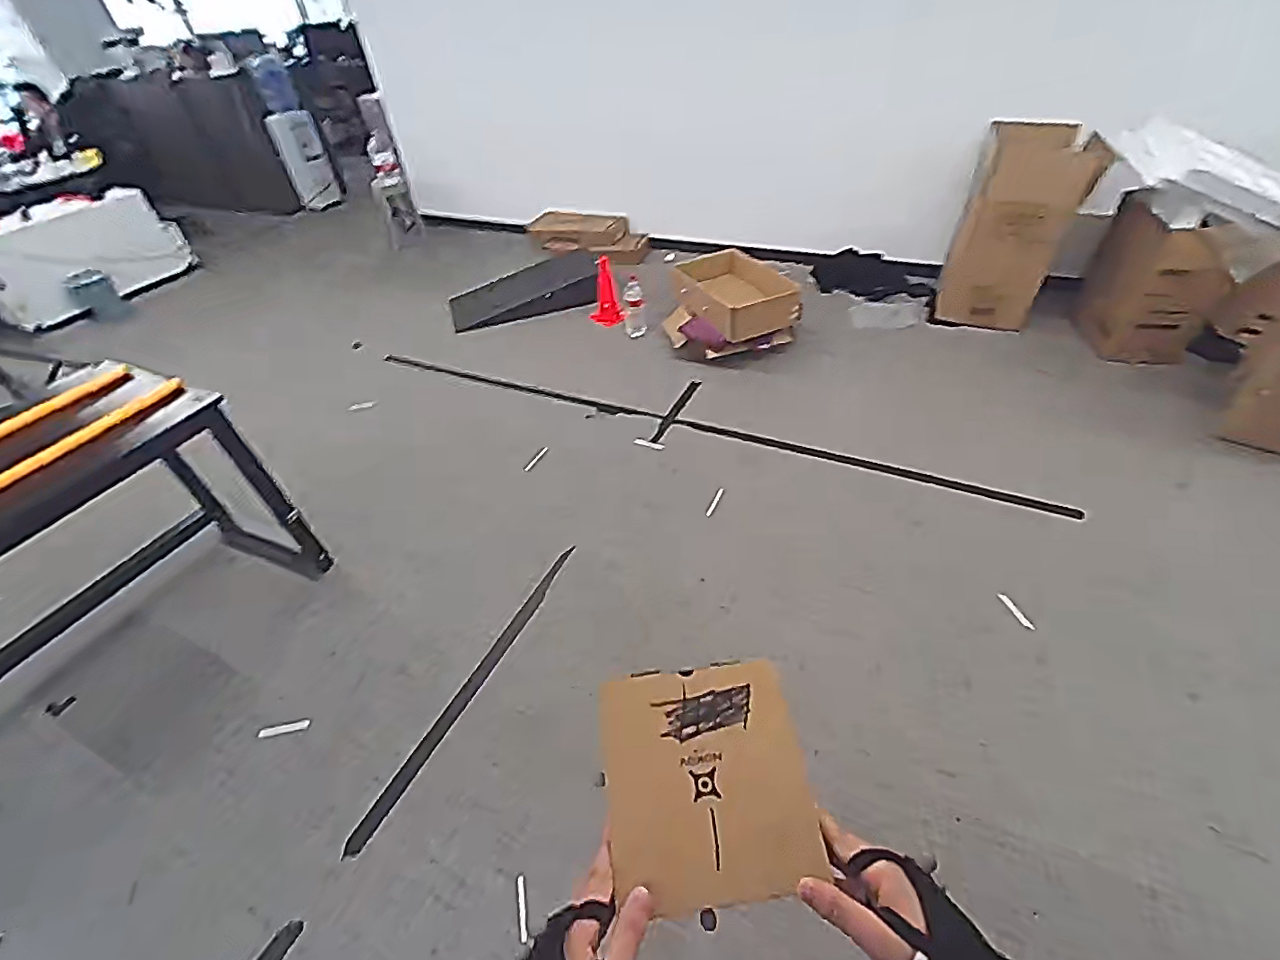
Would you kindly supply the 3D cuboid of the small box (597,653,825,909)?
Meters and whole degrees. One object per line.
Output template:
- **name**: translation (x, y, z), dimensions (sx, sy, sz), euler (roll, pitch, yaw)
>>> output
- **small box**: translation (0.050, 0.288, 0.517), dimensions (0.168, 0.176, 0.179), euler (-7, 52, -4)
